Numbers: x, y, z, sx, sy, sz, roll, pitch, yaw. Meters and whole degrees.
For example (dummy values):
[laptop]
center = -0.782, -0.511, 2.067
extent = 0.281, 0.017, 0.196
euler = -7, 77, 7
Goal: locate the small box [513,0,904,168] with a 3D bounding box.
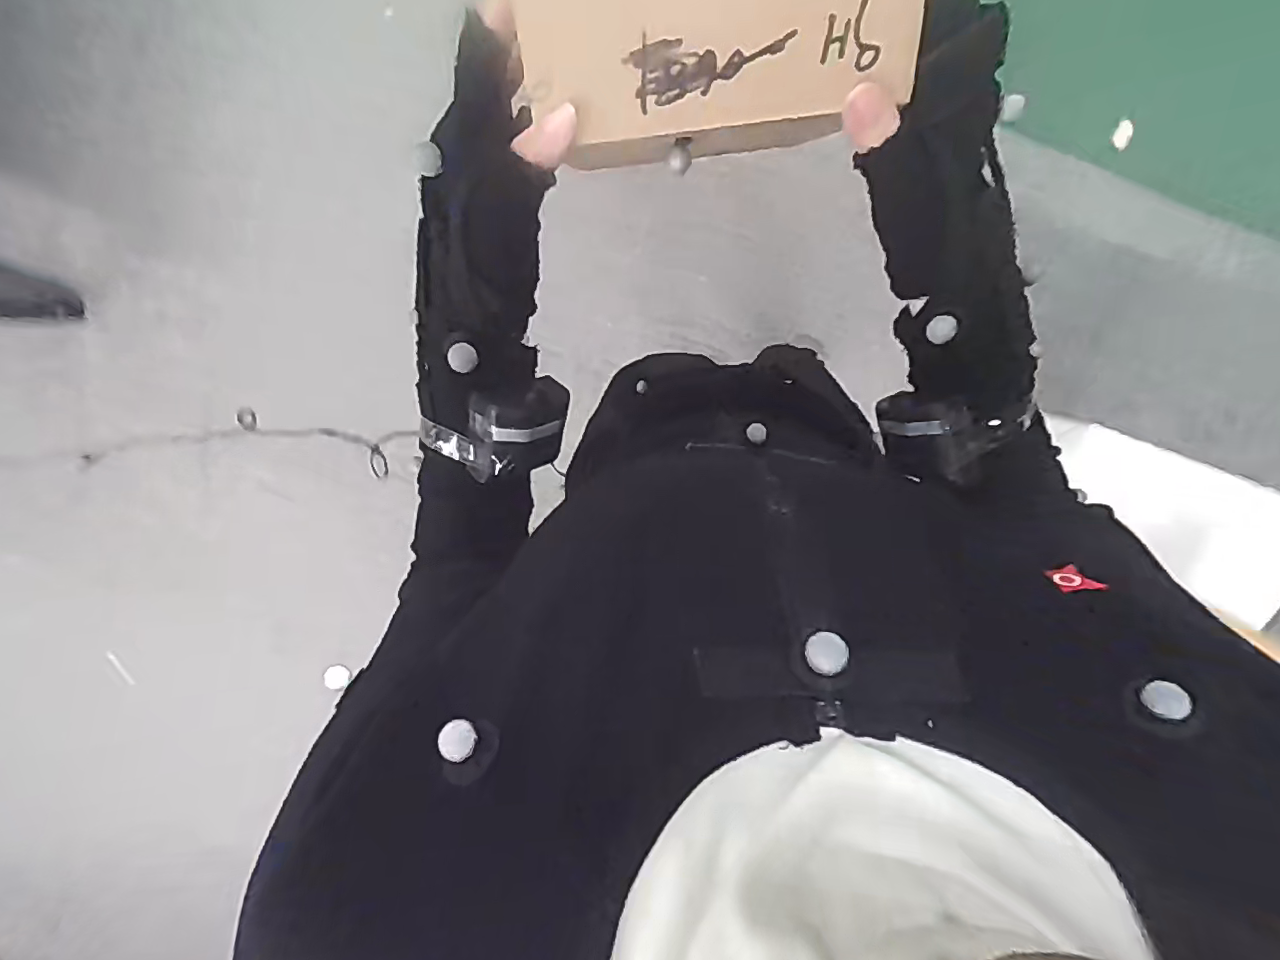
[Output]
[small box]
center = 0.018, -0.276, 0.277
extent = 0.168, 0.176, 0.179
euler = -9, 118, 3
